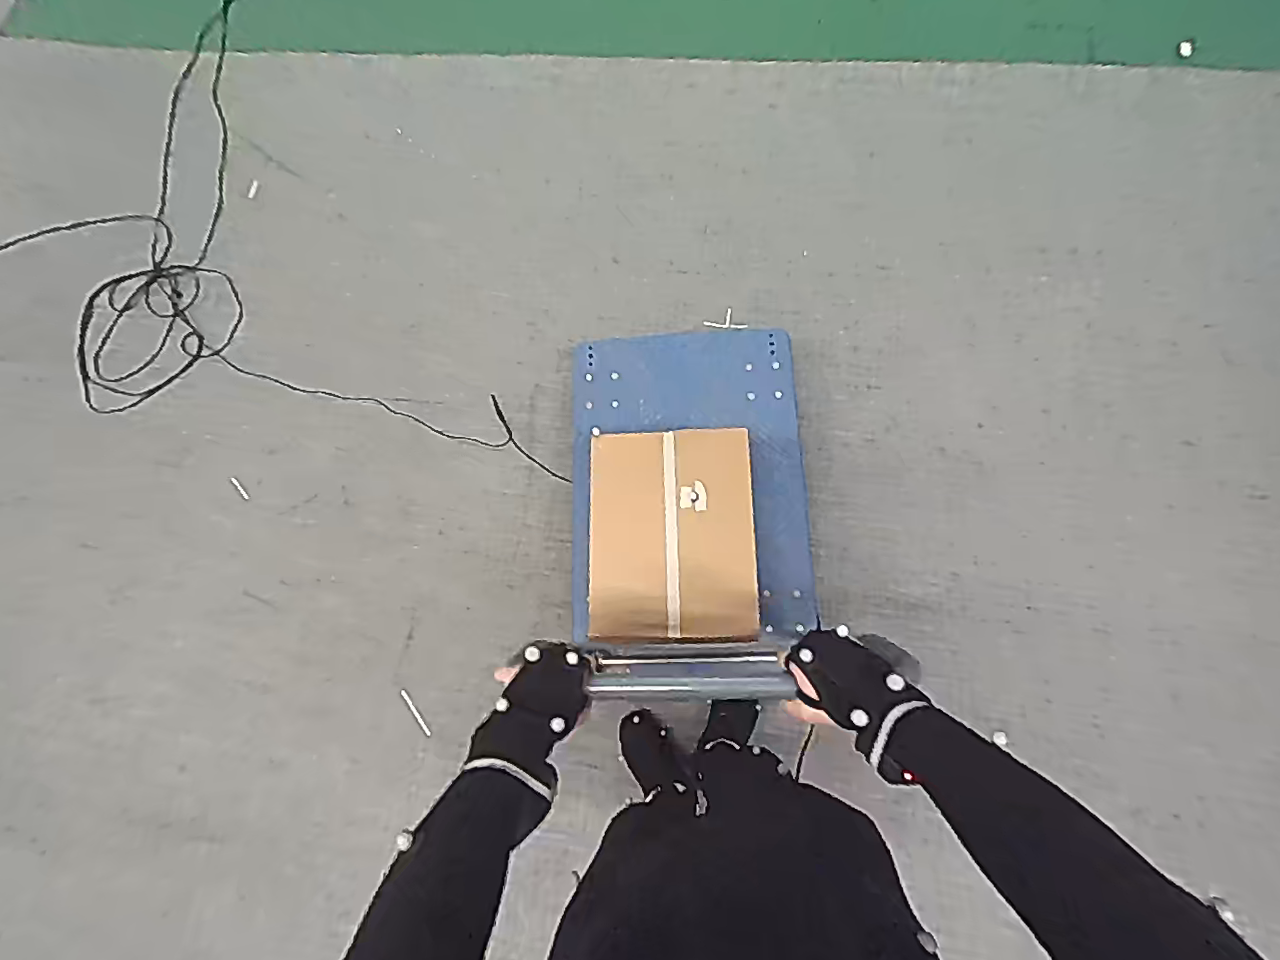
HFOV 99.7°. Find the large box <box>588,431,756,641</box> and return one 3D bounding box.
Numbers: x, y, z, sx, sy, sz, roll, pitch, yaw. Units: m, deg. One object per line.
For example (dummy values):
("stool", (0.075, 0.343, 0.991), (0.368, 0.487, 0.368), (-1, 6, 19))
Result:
("large box", (0.068, 0.139, 1.191), (0.320, 0.320, 0.408), (-2, 75, 4))
